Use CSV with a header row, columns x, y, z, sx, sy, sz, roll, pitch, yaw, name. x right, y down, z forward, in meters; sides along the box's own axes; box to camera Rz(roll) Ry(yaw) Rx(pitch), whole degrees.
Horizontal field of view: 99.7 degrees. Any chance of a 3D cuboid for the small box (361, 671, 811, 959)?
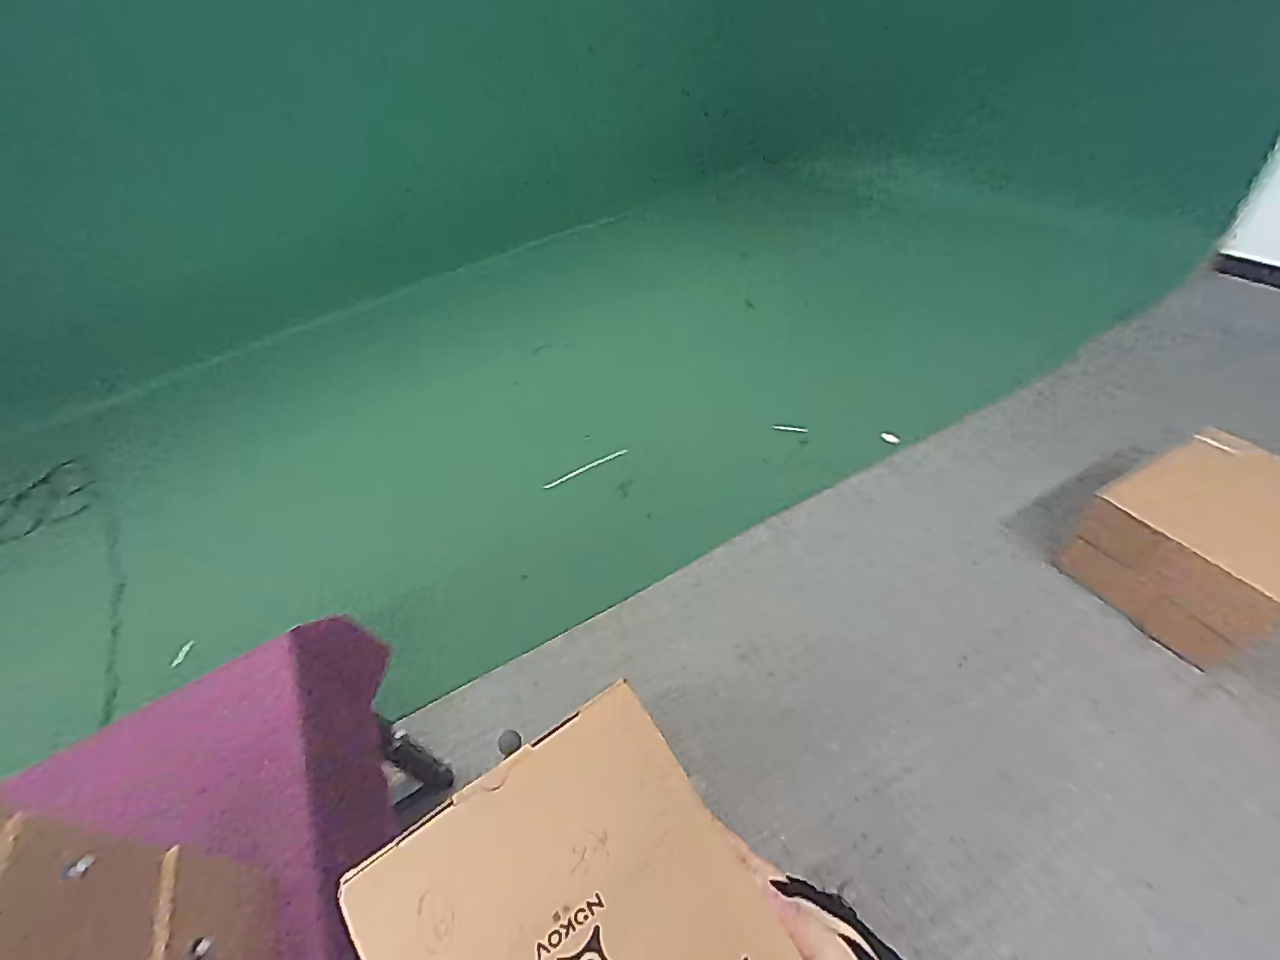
x,y,z,sx,sy,sz,roll,pitch,yaw,name
-0.029,0.244,0.330,0.168,0.176,0.179,-30,72,-15,small box
